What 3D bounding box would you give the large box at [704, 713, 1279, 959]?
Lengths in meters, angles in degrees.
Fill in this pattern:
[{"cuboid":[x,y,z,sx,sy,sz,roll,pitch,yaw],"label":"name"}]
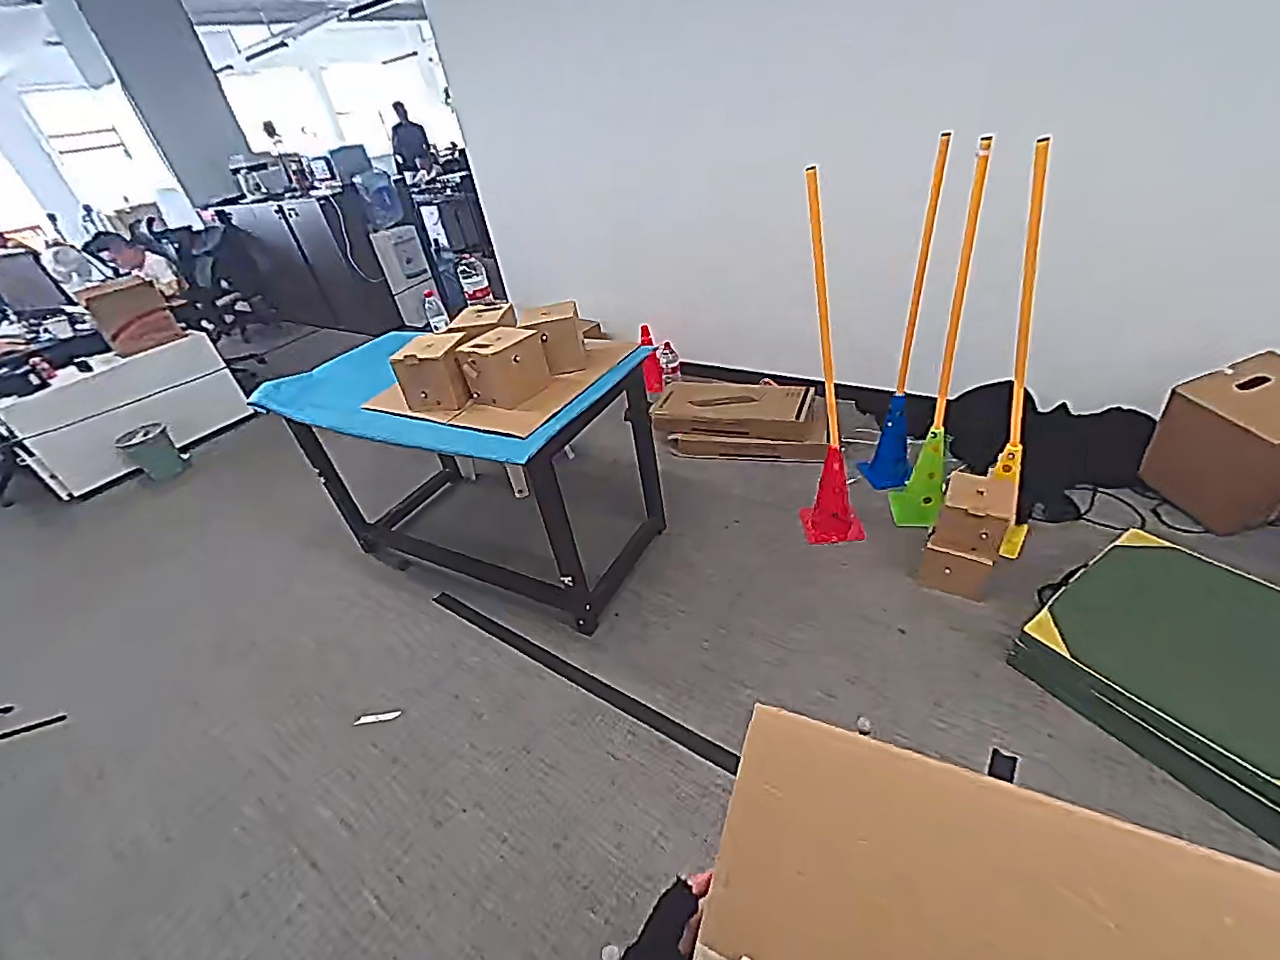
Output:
[{"cuboid":[0.267,0.394,0.376,0.408,0.320,0.320,9,68,28],"label":"large box"}]
